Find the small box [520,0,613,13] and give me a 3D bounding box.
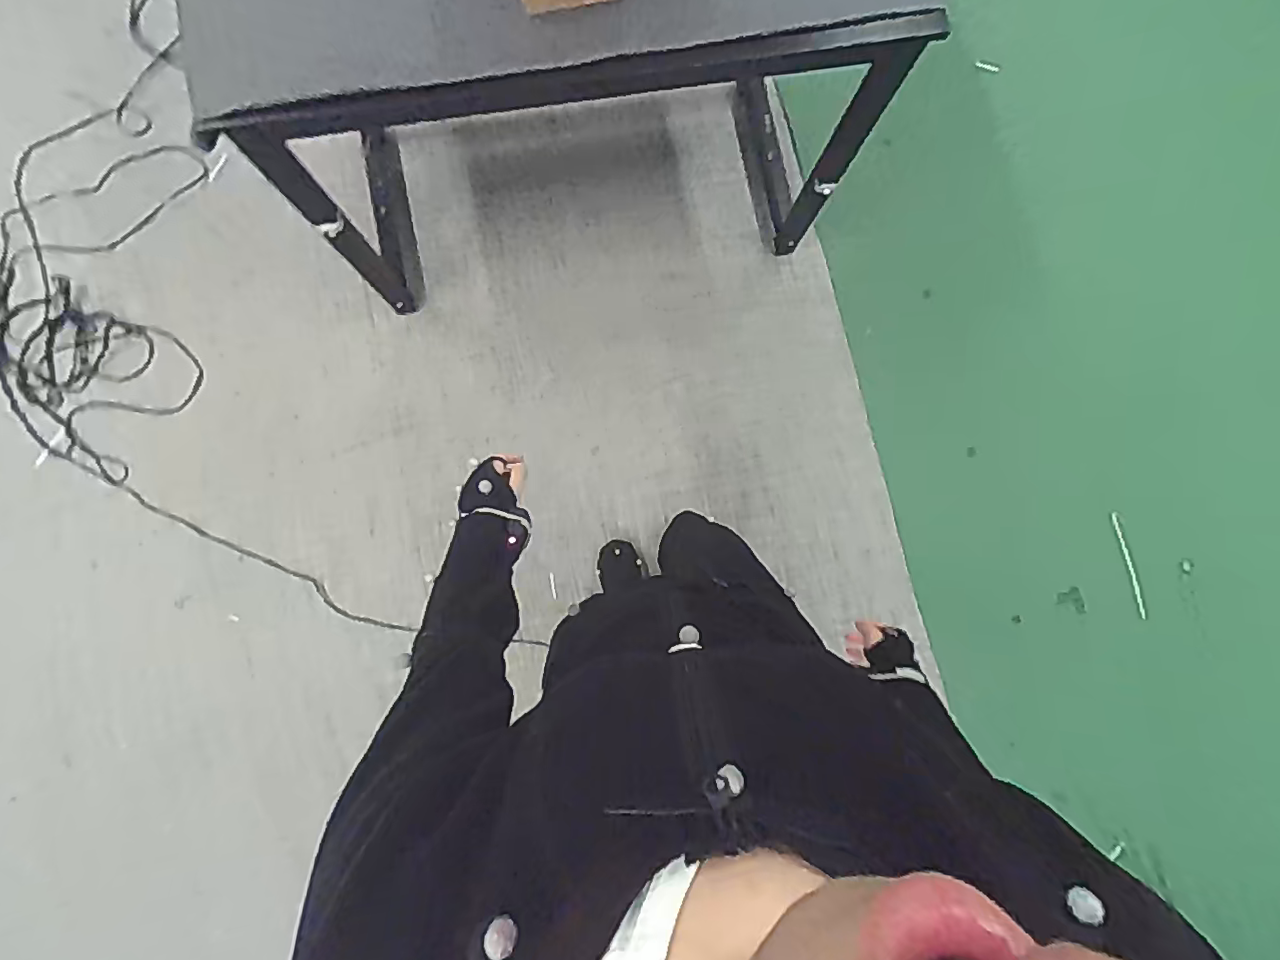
[{"bbox_3d":[-0.122,-0.840,0.783,0.168,0.176,0.179,-15,84,-4],"label":"small box"}]
